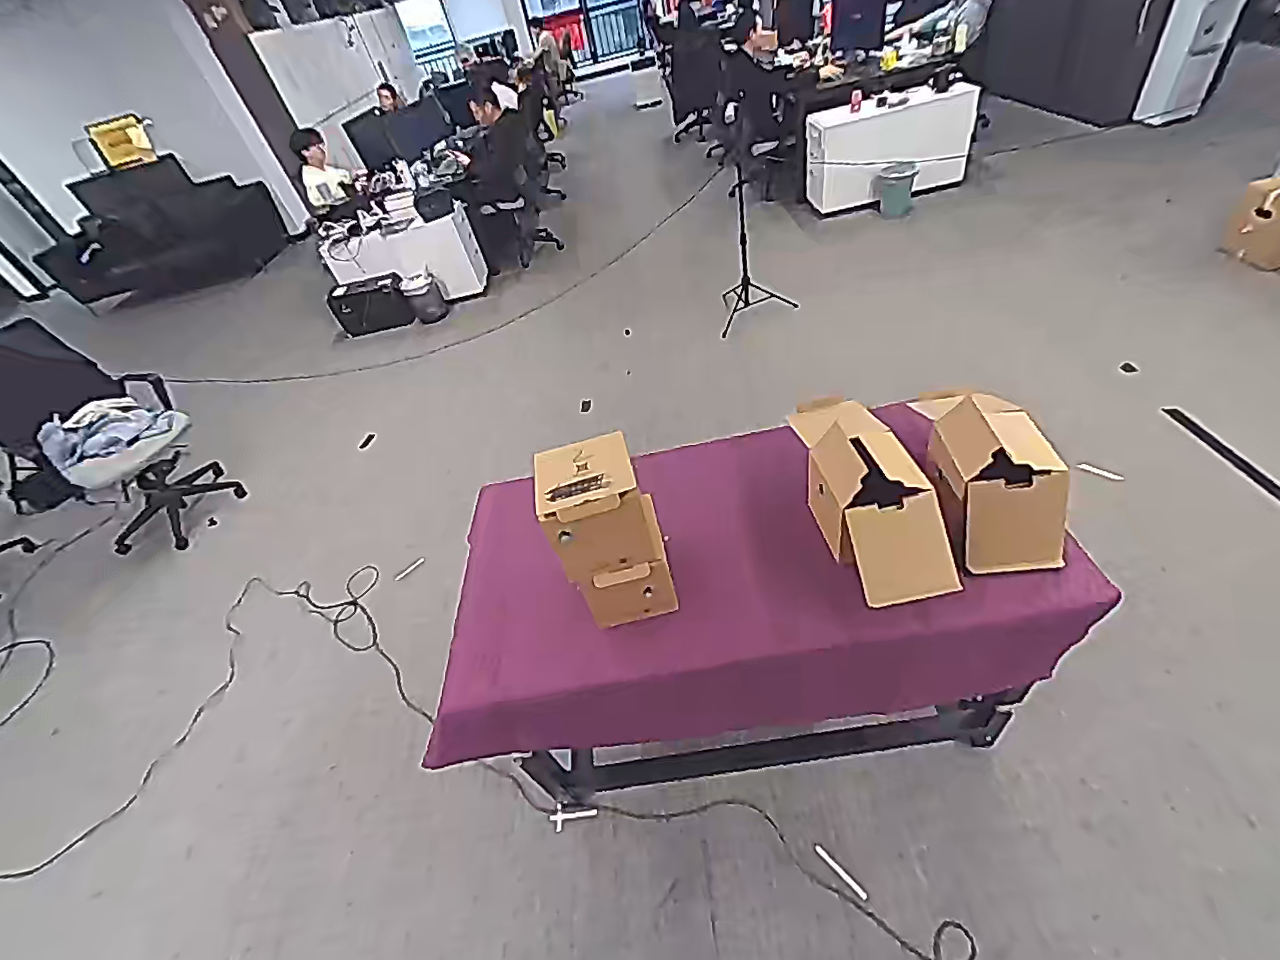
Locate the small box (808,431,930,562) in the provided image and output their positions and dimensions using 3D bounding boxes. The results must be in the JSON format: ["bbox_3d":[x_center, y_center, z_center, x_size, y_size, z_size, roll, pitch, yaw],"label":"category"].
[{"bbox_3d":[0.437,0.033,1.067,0.168,0.176,0.179,-13,43,4],"label":"small box"}]

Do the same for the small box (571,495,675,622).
[{"bbox_3d":[-0.034,0.162,1.075,0.168,0.176,0.179,-14,43,1],"label":"small box"}]
